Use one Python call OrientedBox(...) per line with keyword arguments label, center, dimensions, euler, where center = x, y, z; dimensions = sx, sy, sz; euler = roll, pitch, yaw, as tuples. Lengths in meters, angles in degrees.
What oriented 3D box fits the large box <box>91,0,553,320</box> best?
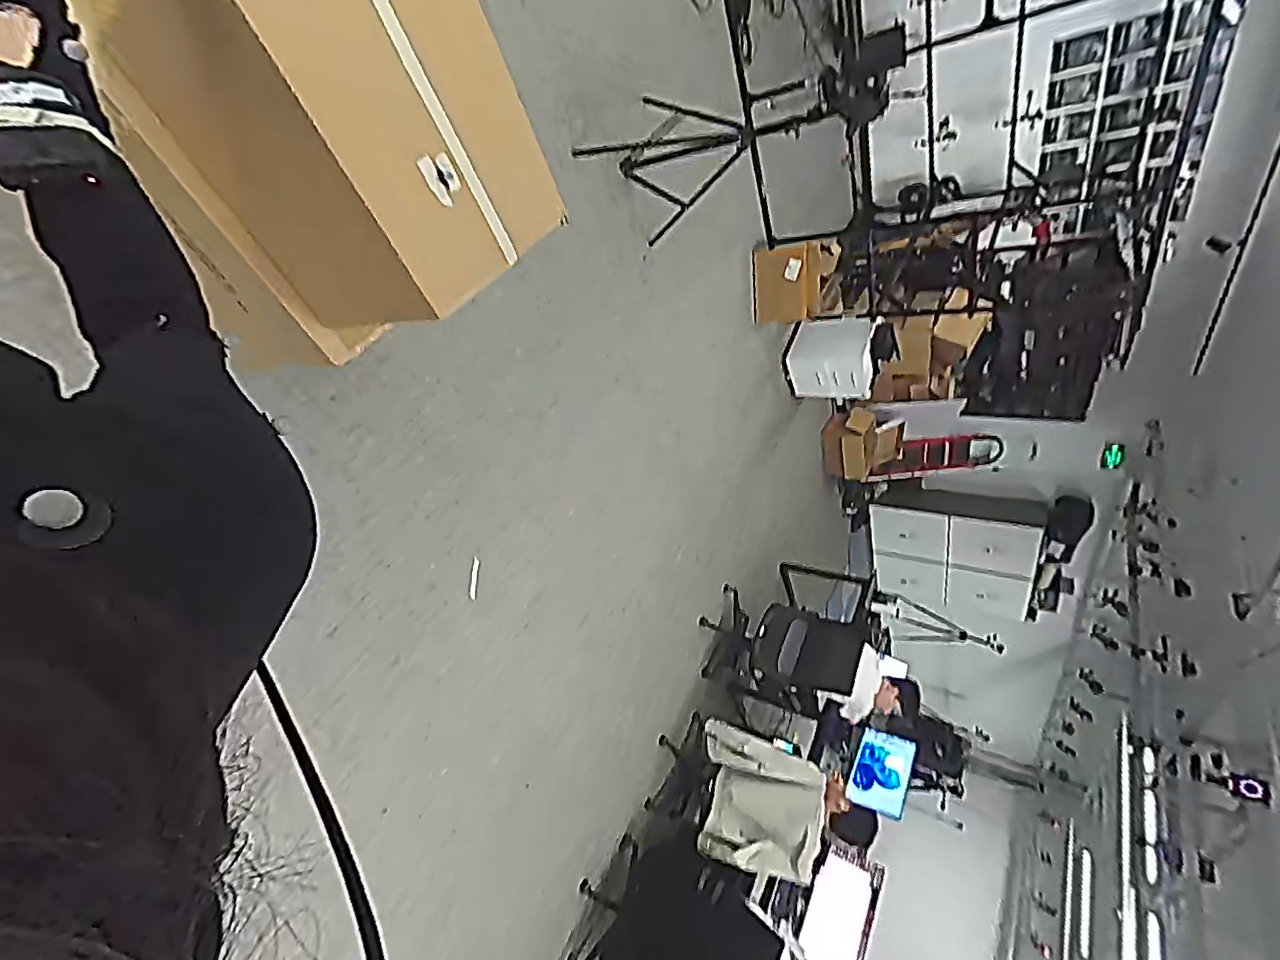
OrientedBox(label="large box", center=(-0.399, -0.485, 0.762), dimensions=(0.320, 0.320, 0.408), euler=(-56, 139, -33))
